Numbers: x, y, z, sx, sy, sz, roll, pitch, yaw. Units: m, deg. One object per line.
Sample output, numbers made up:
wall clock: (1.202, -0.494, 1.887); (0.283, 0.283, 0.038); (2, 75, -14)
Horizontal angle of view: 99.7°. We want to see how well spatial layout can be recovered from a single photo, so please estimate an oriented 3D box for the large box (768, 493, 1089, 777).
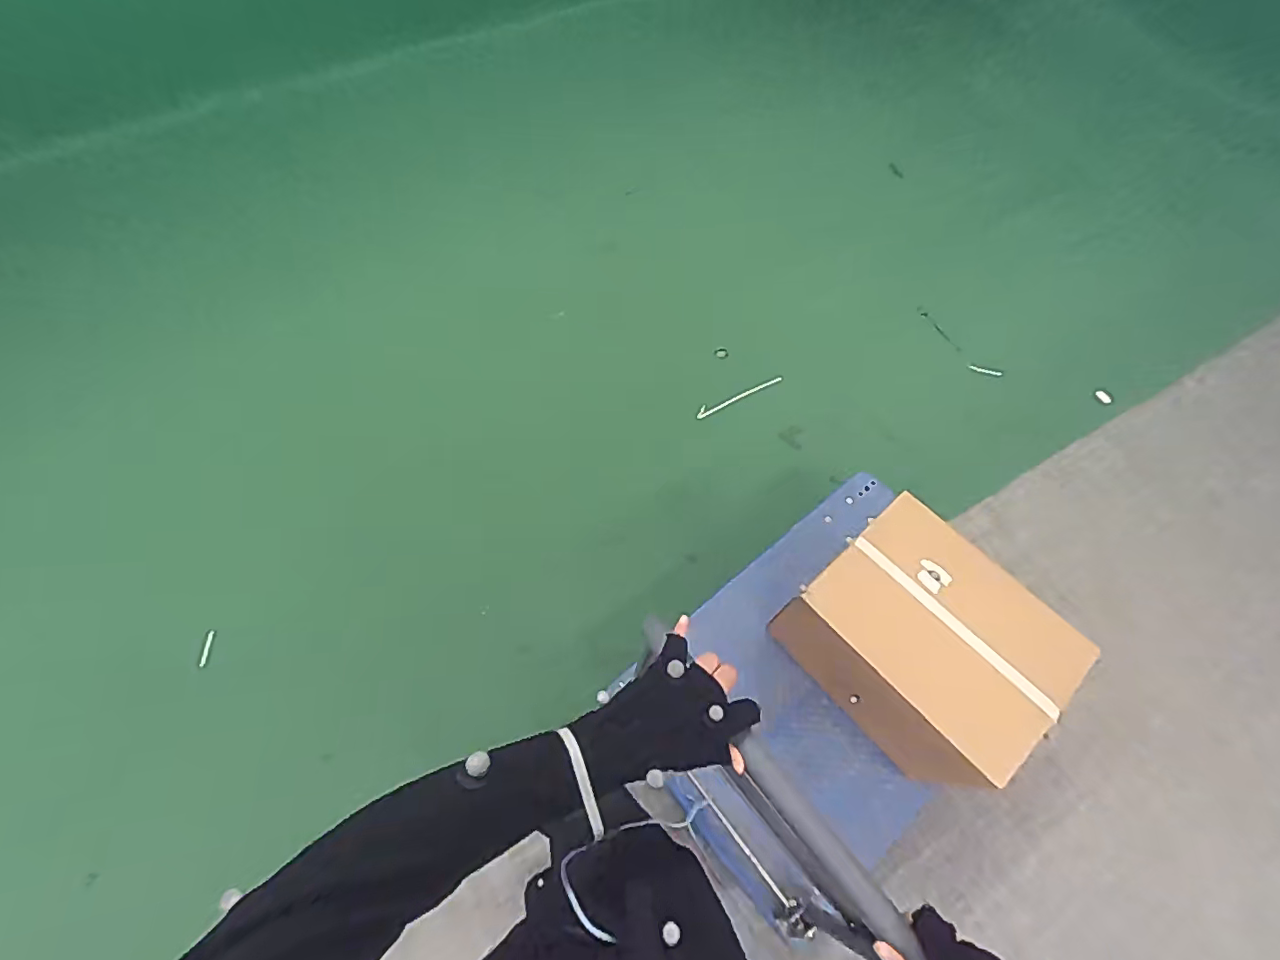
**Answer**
large box: (0.529, 0.311, 1.078); (0.320, 0.320, 0.408); (-38, 68, -18)
